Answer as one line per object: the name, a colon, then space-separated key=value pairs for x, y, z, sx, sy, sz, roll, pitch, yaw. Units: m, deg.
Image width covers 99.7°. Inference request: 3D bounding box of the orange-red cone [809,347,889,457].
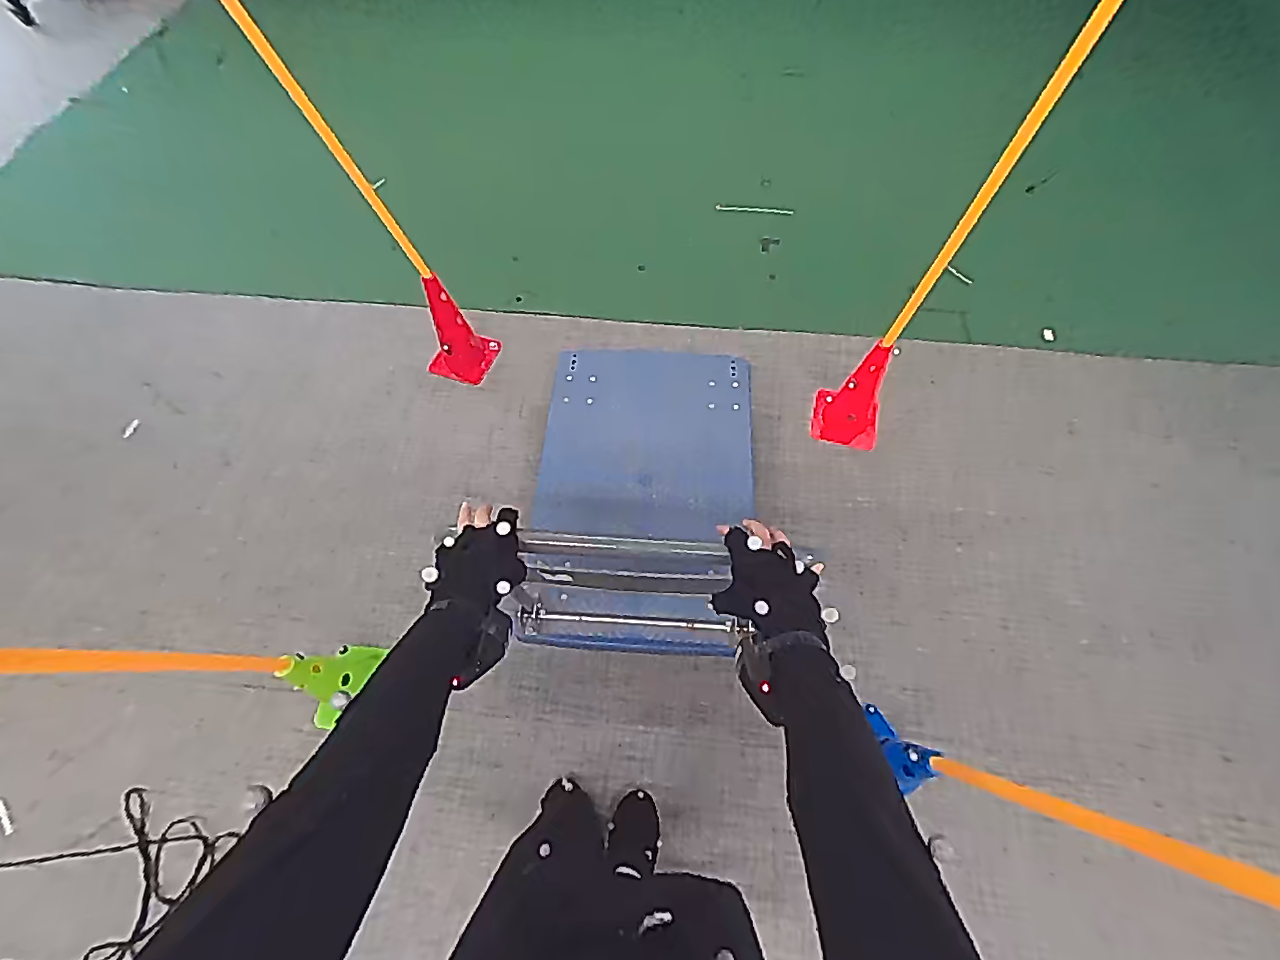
orange-red cone: x=0.648 y=-0.253 z=1.586 sx=0.198 sy=0.360 sz=0.199 roll=15 pitch=63 yaw=10
